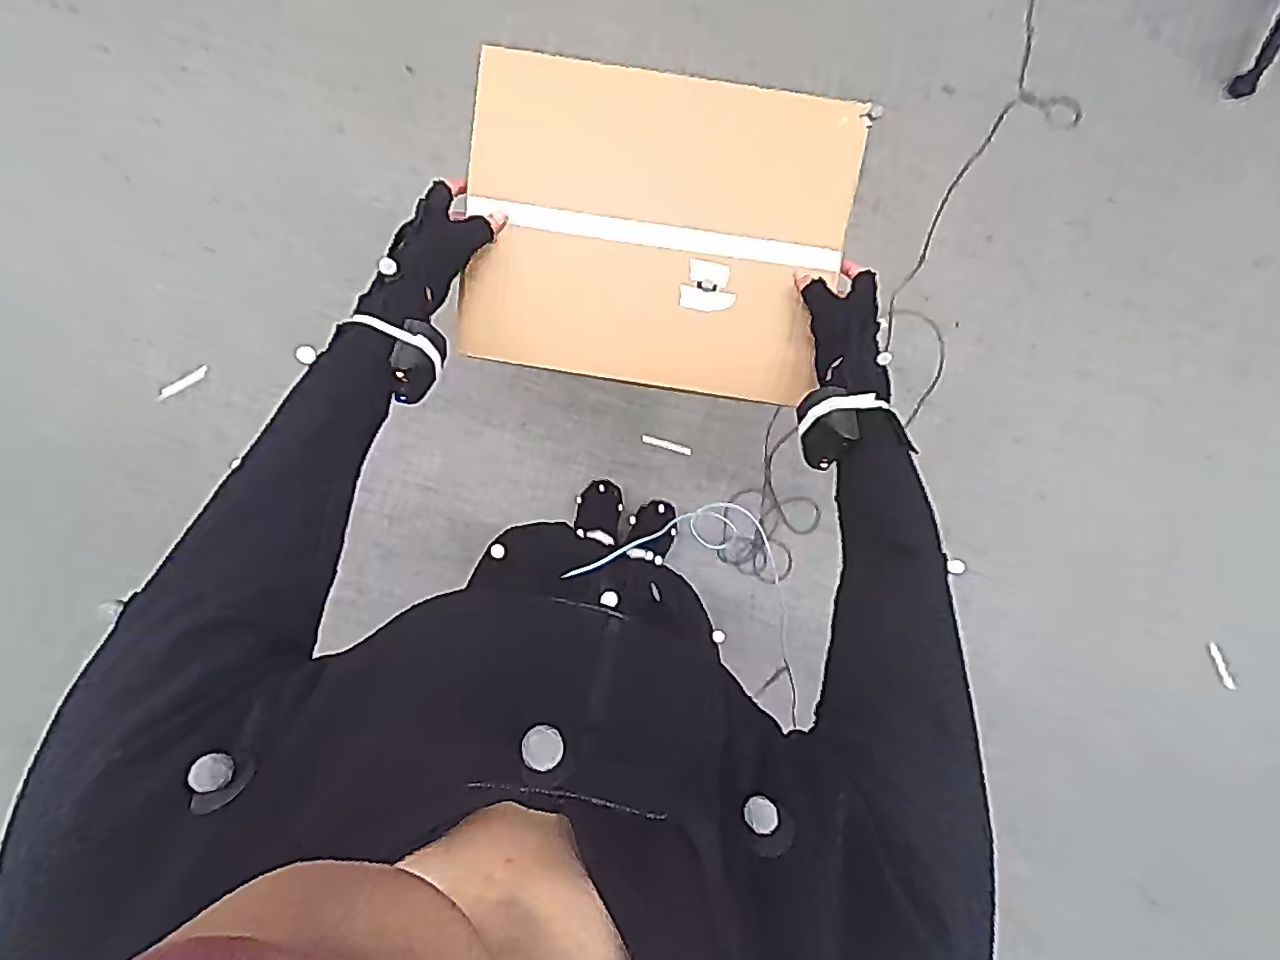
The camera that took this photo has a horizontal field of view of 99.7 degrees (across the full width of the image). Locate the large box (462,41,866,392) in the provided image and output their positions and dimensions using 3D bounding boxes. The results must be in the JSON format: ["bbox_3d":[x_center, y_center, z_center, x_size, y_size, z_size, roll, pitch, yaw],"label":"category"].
[{"bbox_3d":[0.017,-0.298,0.724,0.408,0.320,0.320,9,101,-1],"label":"large box"}]
